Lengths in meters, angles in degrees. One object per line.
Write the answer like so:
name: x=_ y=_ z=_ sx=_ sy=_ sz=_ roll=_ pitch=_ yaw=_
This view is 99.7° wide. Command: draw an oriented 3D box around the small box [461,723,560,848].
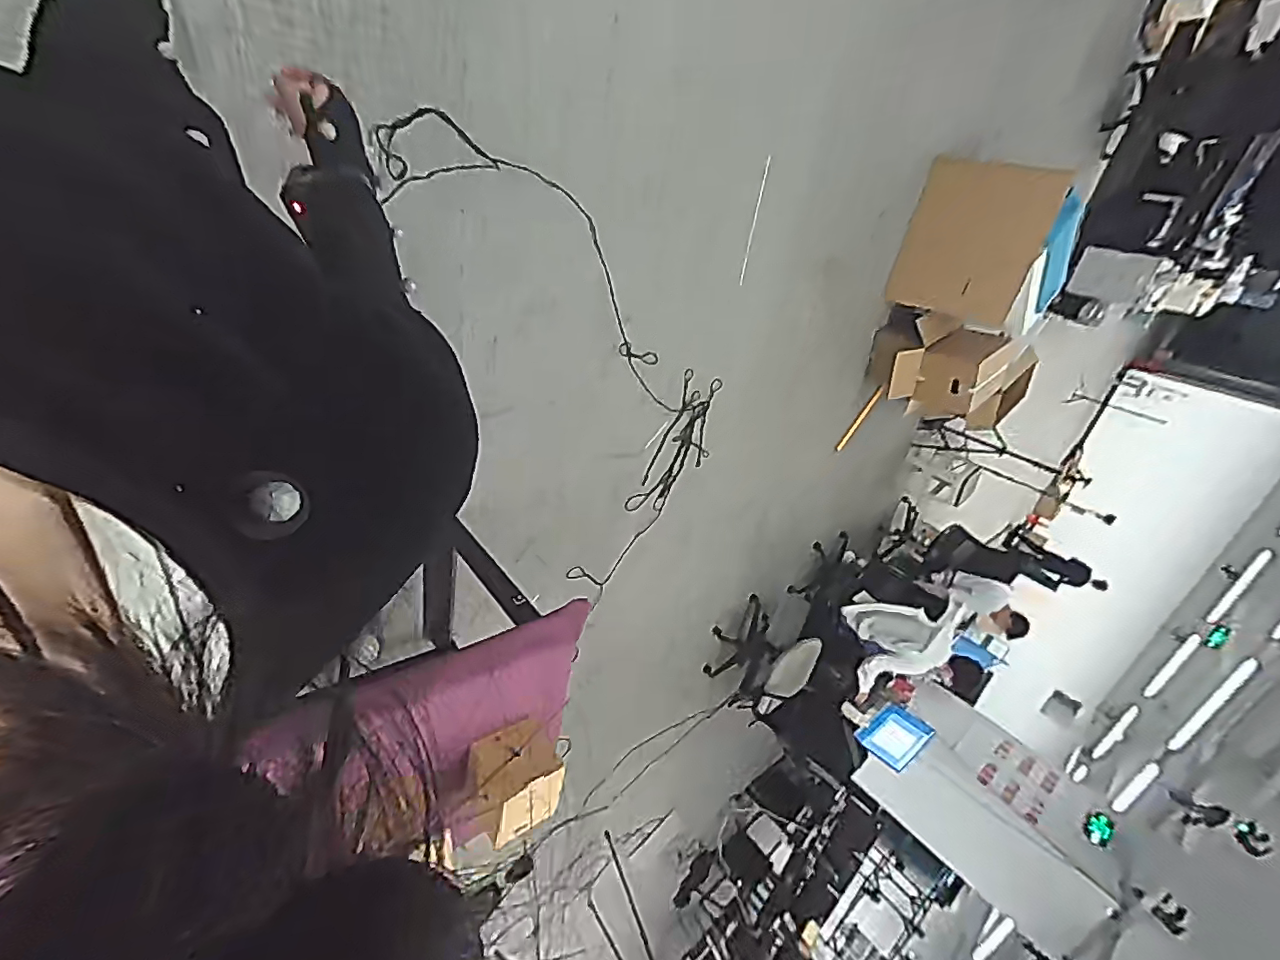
small box: x=-0.316 y=0.718 z=1.299 sx=0.168 sy=0.176 sz=0.179 roll=-10 pitch=123 yaw=-41

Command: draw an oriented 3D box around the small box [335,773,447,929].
small box: x=-0.515 y=0.758 z=1.123 sx=0.168 sy=0.176 sz=0.179 roll=-16 pitch=127 yaw=-39
